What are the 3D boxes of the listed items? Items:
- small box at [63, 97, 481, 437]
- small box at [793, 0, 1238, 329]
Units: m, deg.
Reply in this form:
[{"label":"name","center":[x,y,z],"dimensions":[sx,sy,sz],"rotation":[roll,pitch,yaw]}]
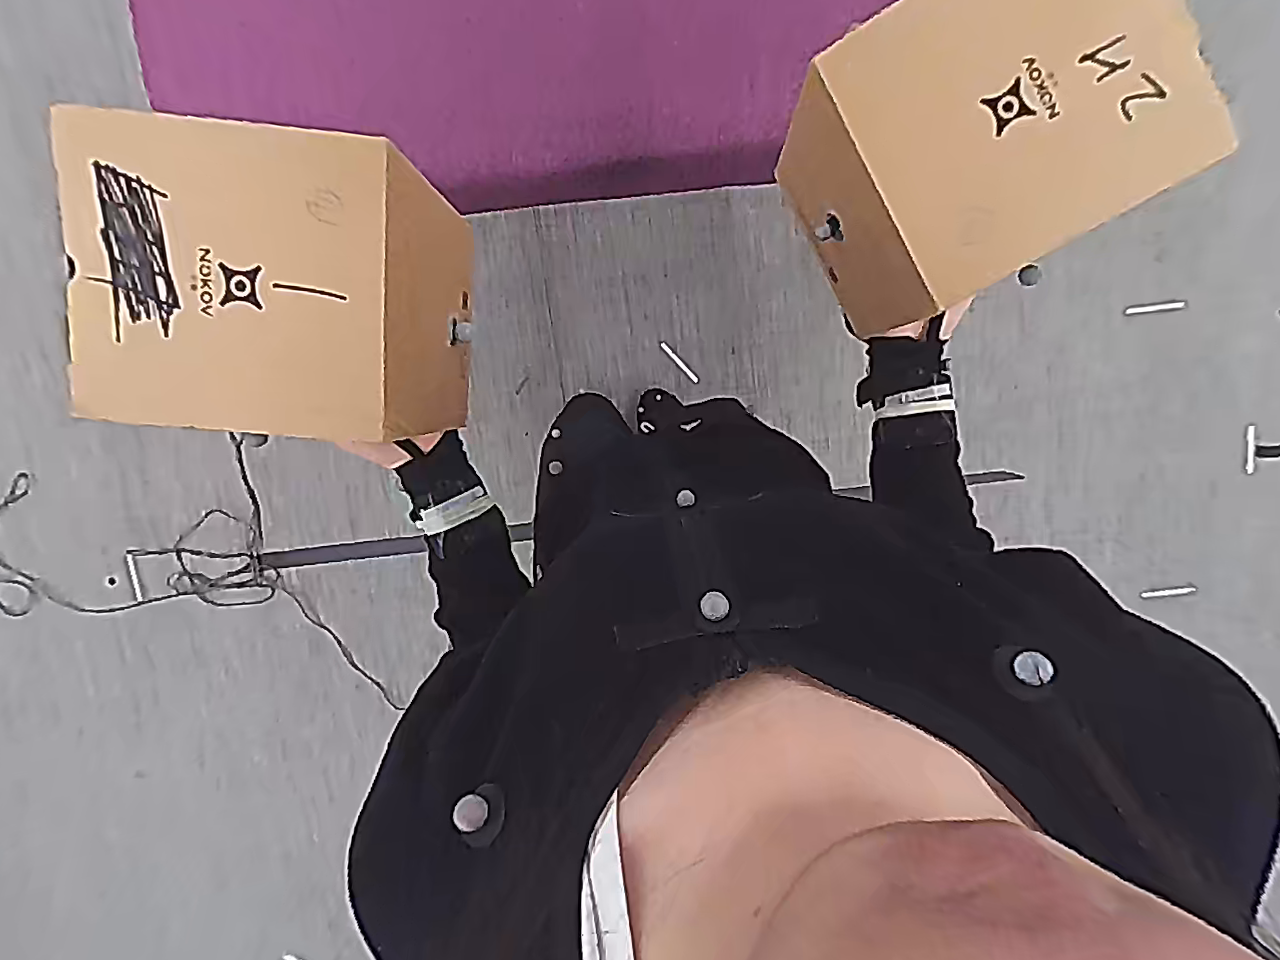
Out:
[{"label":"small box","center":[-0.223,-0.124,0.374],"dimensions":[0.179,0.176,0.168],"rotation":[5,99,-3]},{"label":"small box","center":[0.224,-0.225,0.383],"dimensions":[0.179,0.176,0.168],"rotation":[-28,95,9]}]
